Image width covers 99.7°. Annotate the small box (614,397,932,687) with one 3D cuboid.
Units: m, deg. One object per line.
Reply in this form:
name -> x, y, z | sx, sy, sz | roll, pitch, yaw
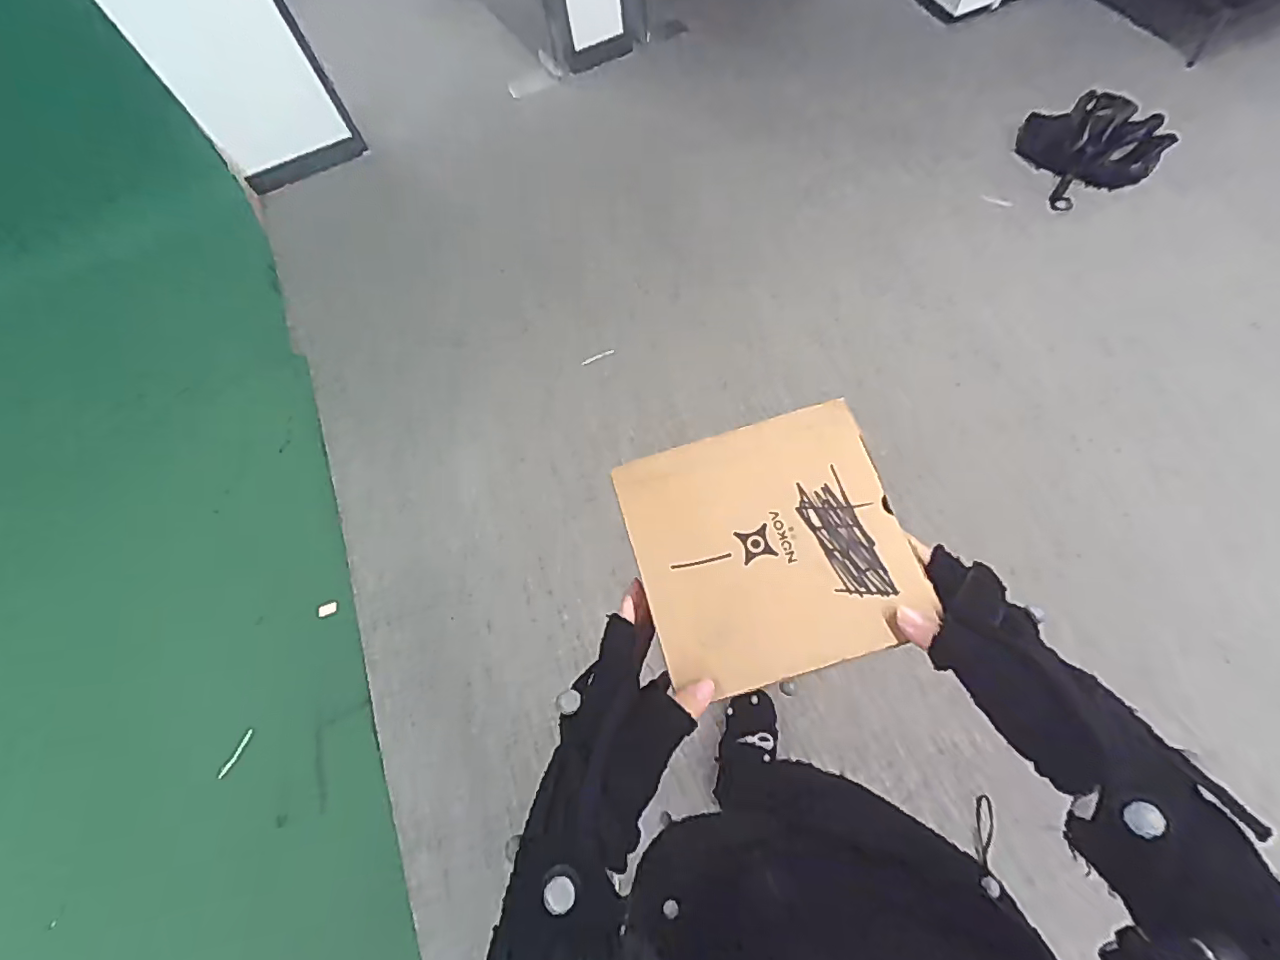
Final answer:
small box -> 0.087, 0.059, 0.434 | 0.179, 0.176, 0.168 | -14, 69, 0
